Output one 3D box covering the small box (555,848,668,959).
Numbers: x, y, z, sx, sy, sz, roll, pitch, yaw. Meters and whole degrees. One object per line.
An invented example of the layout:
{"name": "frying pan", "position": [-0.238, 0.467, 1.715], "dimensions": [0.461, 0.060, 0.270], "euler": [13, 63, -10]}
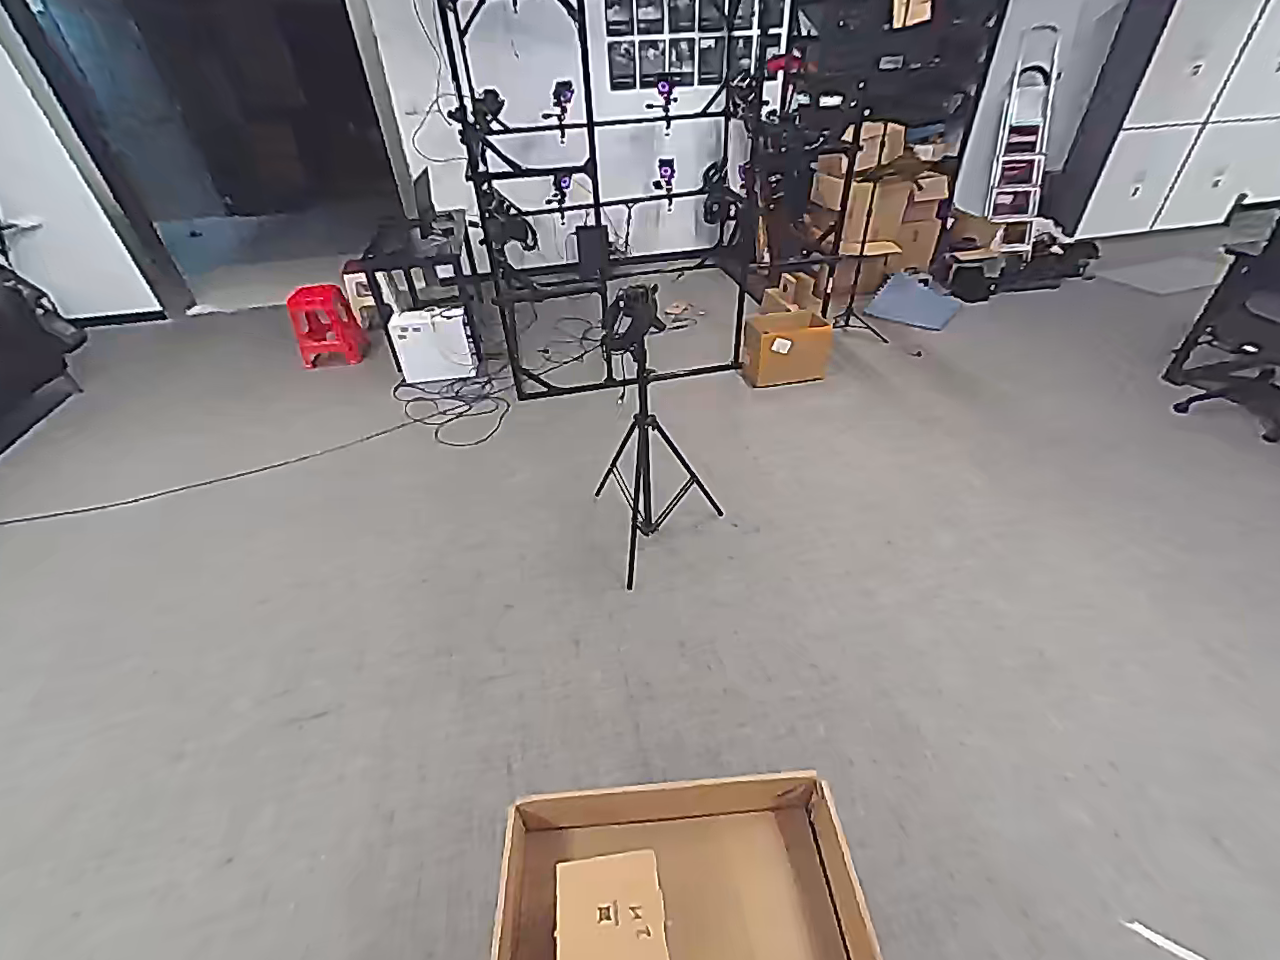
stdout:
{"name": "small box", "position": [-0.047, 0.765, 0.925], "dimensions": [0.179, 0.176, 0.168], "euler": [-5, 38, -5]}
